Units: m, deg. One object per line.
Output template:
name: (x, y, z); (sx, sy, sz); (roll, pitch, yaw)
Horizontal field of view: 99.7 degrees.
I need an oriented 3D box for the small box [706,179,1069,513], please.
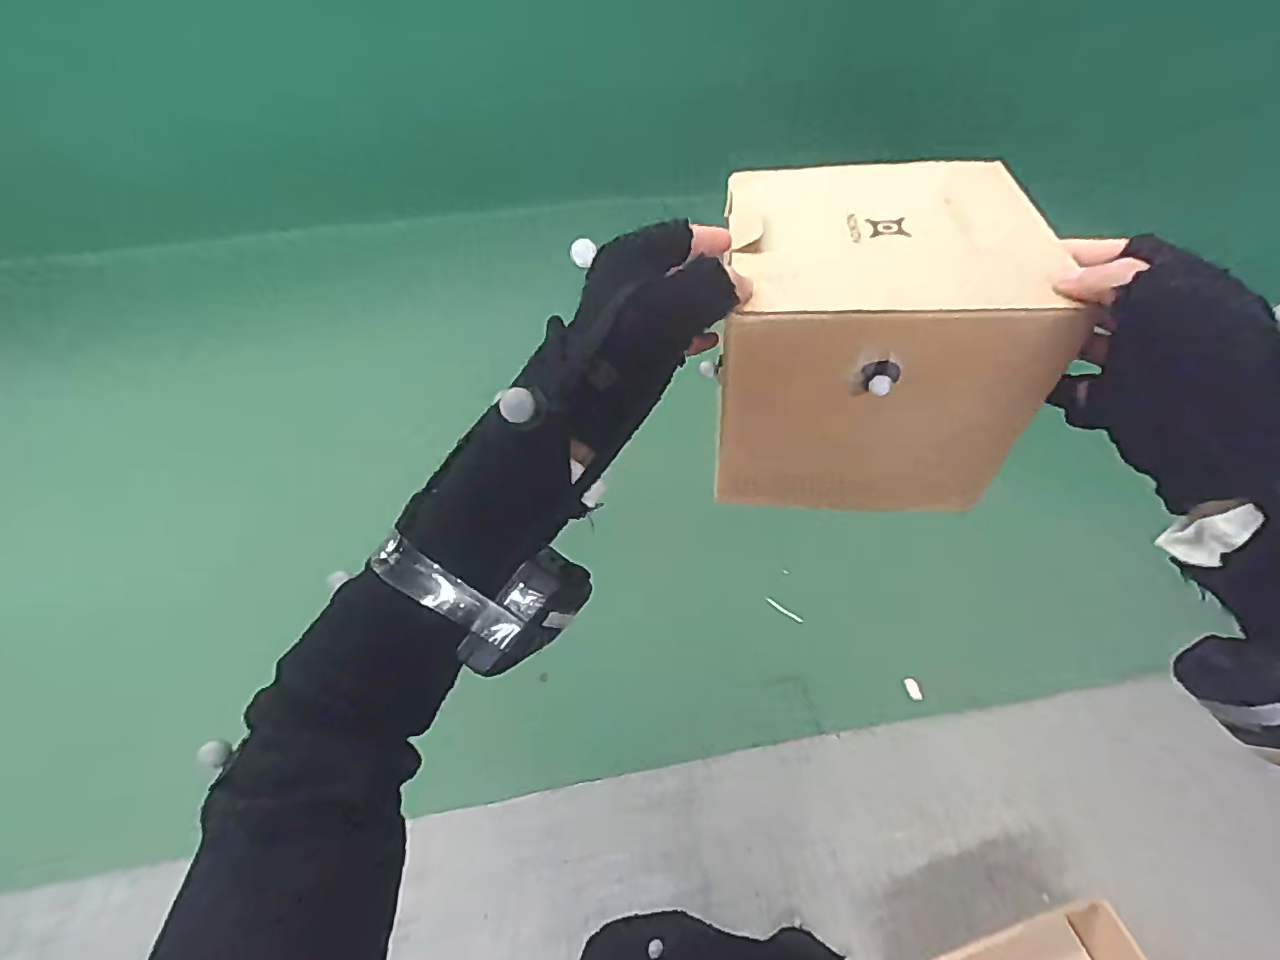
small box: (0.138, -0.090, 0.384); (0.179, 0.176, 0.168); (3, 51, 5)
